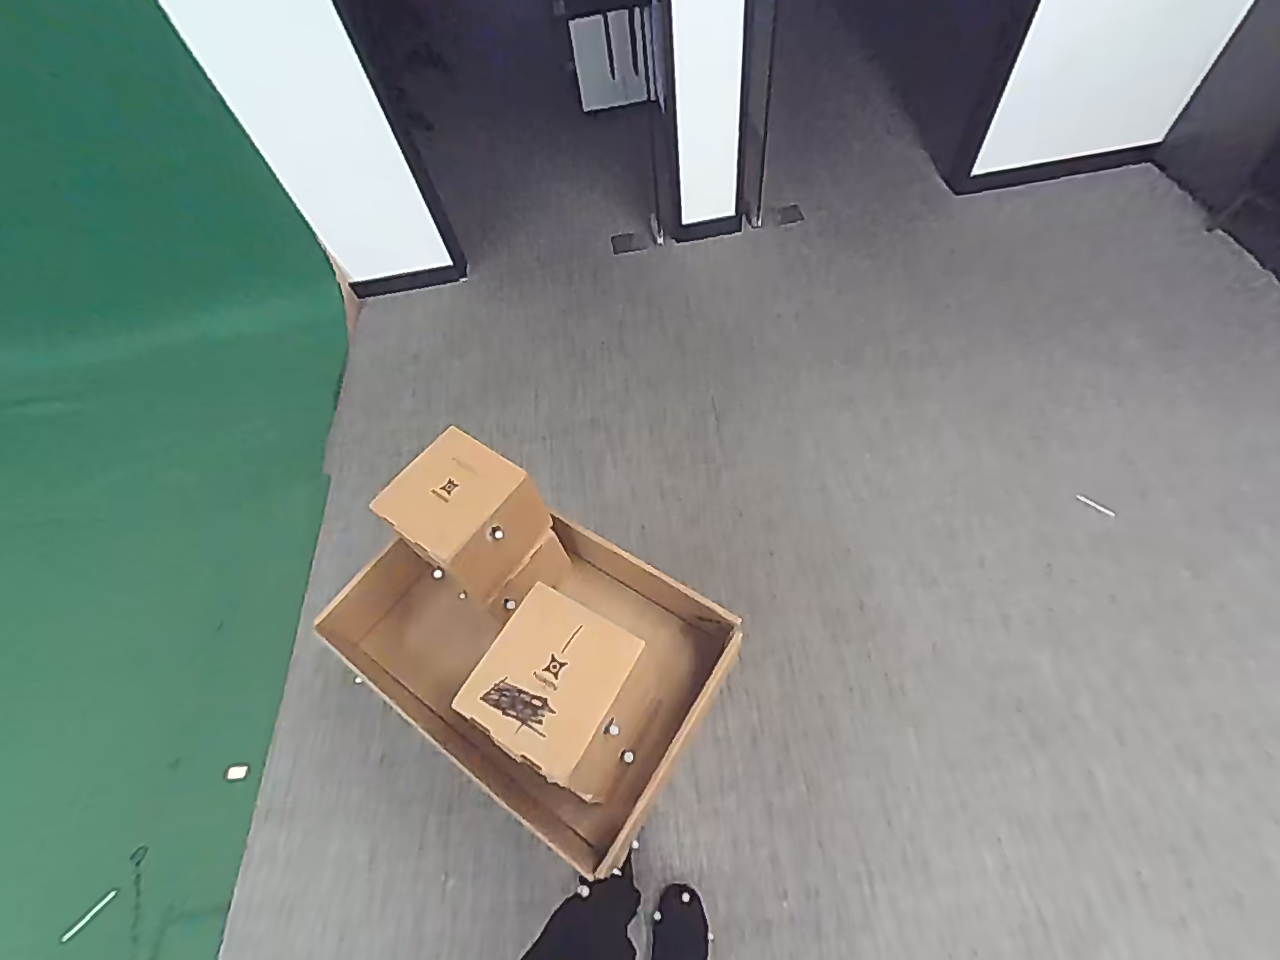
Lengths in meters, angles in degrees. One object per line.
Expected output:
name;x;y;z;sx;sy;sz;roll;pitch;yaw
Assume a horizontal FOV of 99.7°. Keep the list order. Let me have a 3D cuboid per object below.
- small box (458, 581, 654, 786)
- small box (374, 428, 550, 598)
small box;-0.092;0.268;0.699;0.168;0.176;0.179;25;63;21
small box;-0.267;0.058;0.853;0.168;0.176;0.179;30;66;22
